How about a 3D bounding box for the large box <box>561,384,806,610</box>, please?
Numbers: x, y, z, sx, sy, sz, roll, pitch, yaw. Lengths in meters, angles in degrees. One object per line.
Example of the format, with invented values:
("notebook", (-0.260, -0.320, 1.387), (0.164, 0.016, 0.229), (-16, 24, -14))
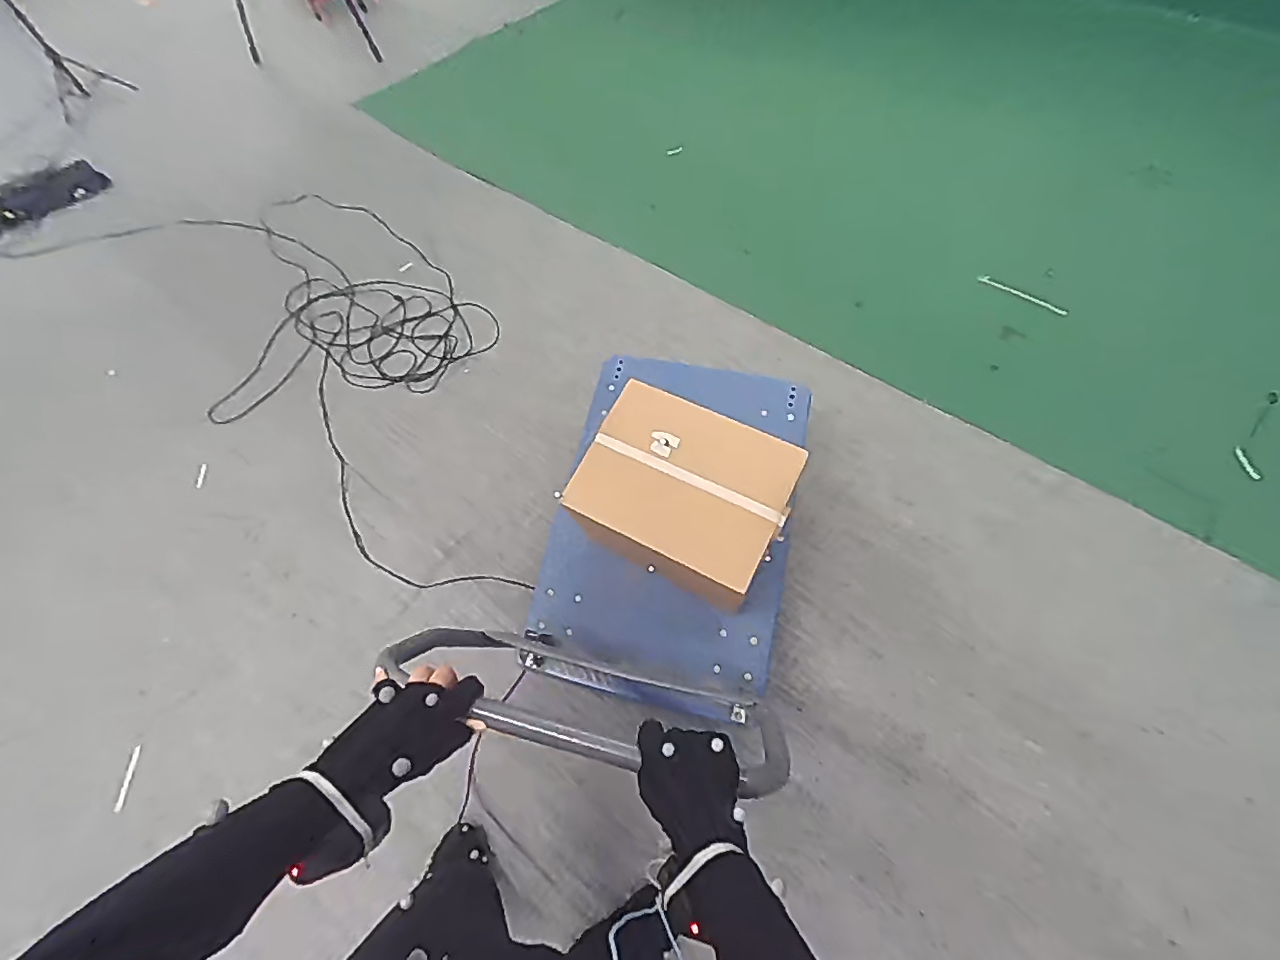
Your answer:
("large box", (0.104, 0.052, 1.203), (0.408, 0.320, 0.320), (25, 74, 16))
